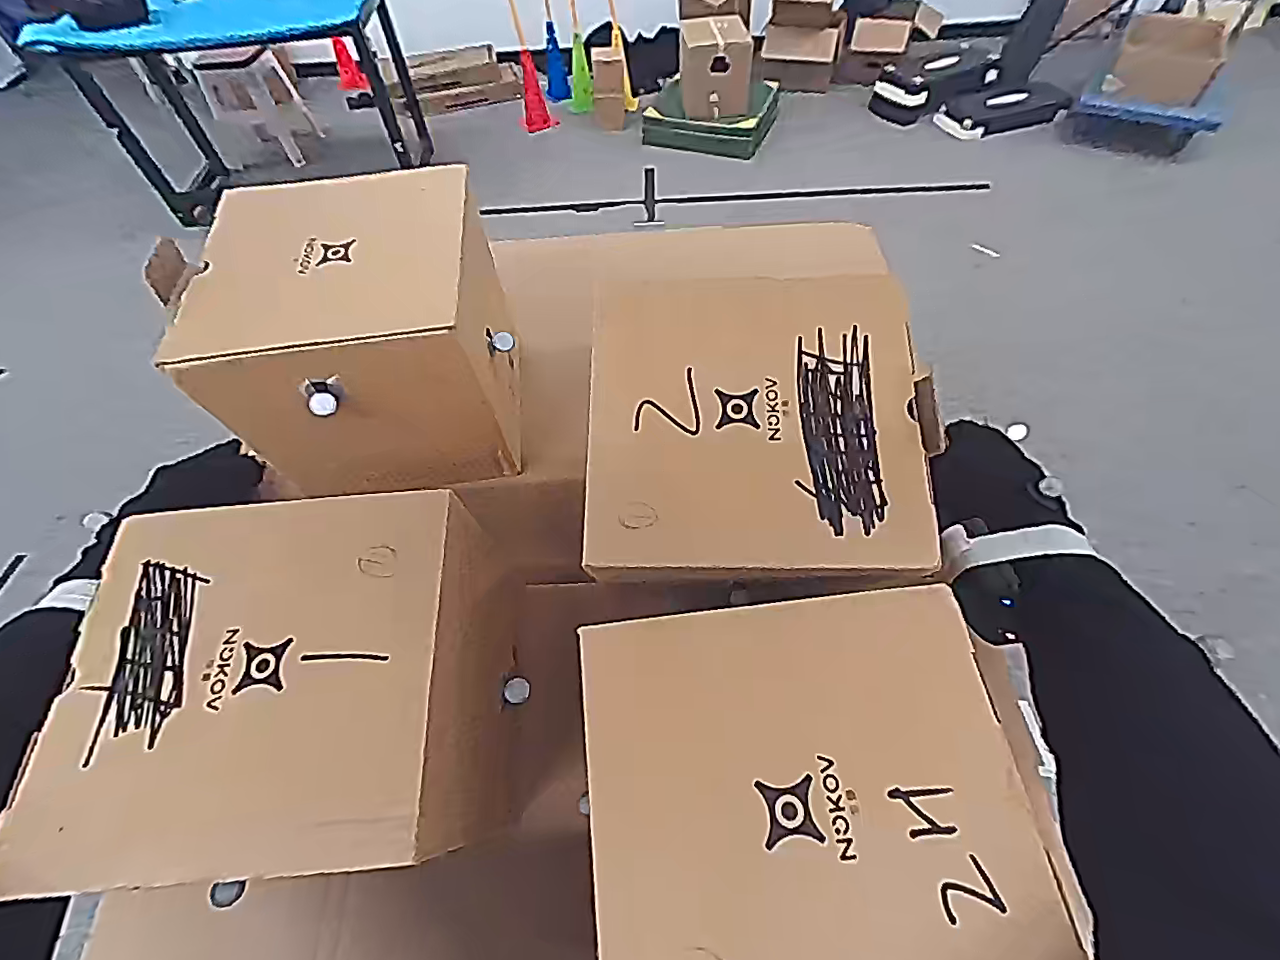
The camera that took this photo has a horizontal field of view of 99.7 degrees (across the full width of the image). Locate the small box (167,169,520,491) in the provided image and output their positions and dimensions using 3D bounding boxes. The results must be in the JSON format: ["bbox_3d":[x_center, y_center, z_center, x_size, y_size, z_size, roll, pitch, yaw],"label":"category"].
[{"bbox_3d":[-0.196,-0.107,0.425,0.179,0.176,0.168,-8,60,0],"label":"small box"}]
